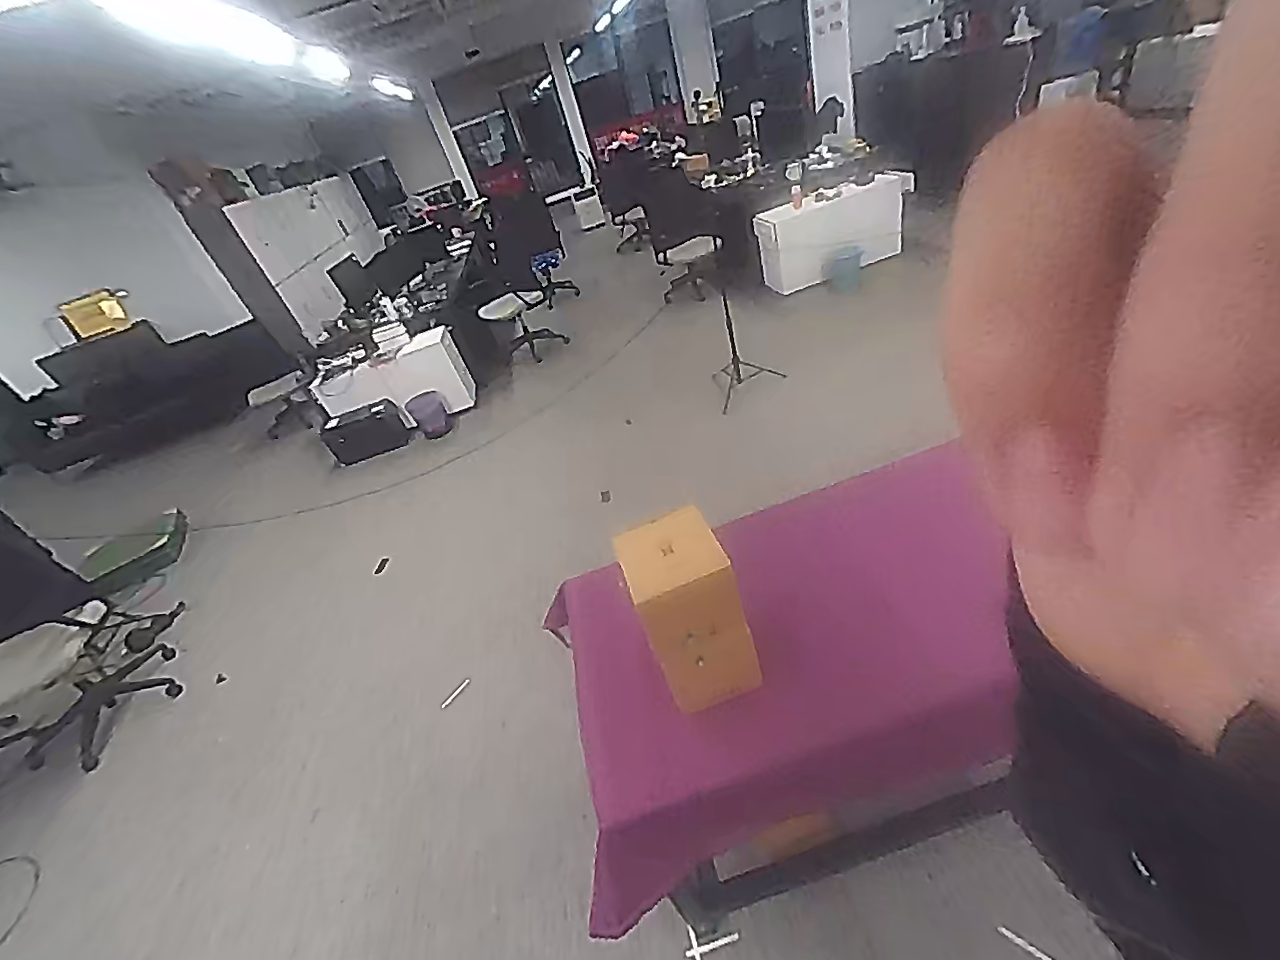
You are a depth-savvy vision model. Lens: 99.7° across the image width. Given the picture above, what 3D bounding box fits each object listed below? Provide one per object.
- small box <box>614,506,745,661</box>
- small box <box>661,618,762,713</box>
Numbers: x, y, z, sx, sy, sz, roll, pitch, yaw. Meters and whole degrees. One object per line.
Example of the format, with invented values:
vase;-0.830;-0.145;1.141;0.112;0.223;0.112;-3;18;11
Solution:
small box;0.068;0.180;0.950;0.168;0.176;0.179;-22;35;-3
small box;0.118;0.307;1.041;0.168;0.176;0.179;-21;34;-2
